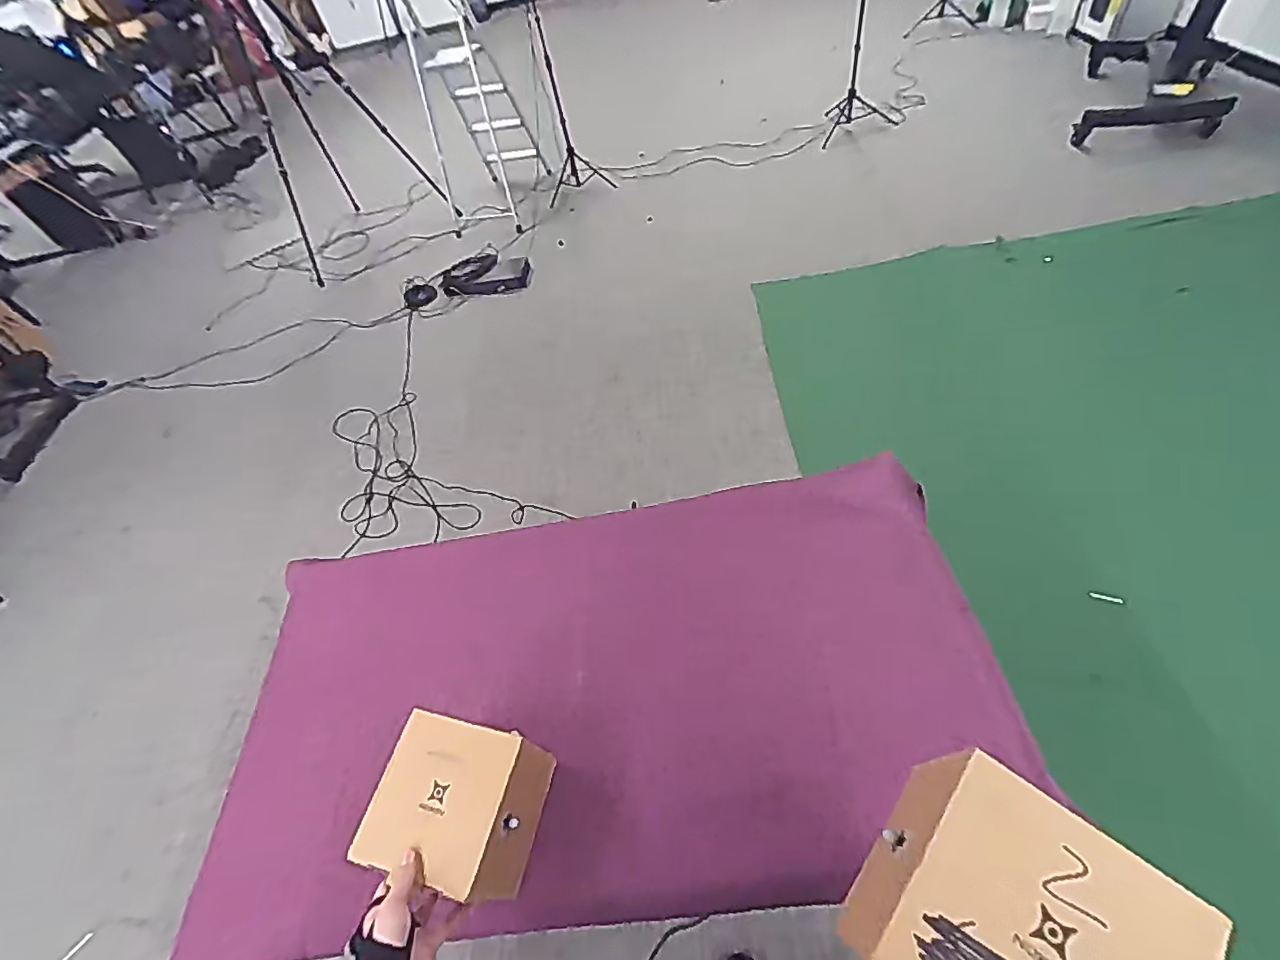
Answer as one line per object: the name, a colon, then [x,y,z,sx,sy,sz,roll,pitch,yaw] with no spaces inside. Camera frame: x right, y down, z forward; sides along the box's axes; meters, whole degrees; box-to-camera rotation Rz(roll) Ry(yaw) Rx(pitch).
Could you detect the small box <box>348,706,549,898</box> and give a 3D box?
small box: [-0.240,0.433,0.732,0.168,0.176,0.179,8,56,15]
